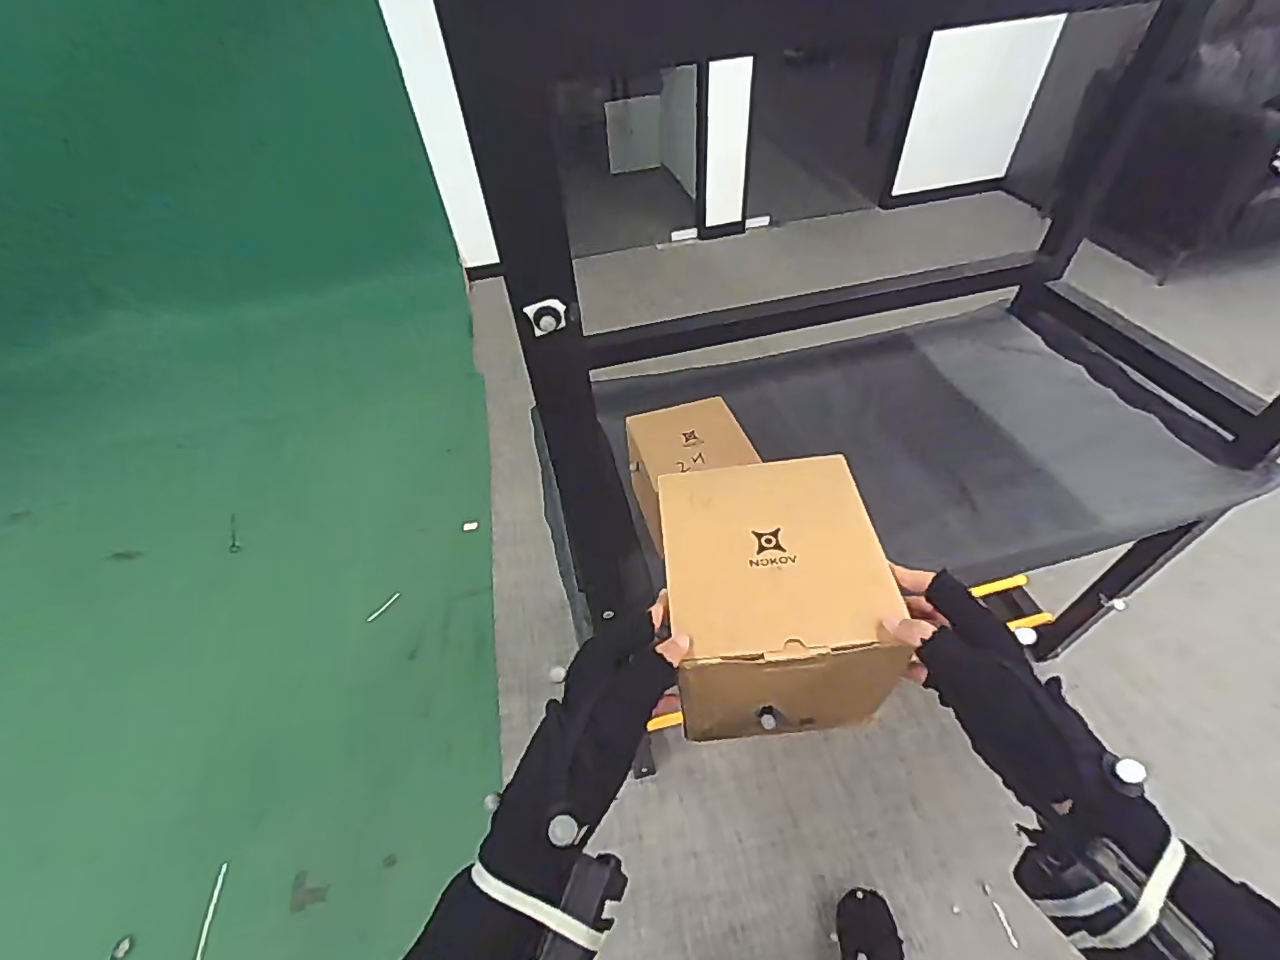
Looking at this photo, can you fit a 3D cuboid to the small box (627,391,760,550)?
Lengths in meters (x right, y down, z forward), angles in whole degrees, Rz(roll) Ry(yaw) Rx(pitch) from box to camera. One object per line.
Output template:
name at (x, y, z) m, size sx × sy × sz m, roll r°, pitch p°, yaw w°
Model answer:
small box at (0.080, -0.015, 0.885) m, size 0.168 × 0.176 × 0.179 m, roll -14°, pitch 48°, yaw -7°
